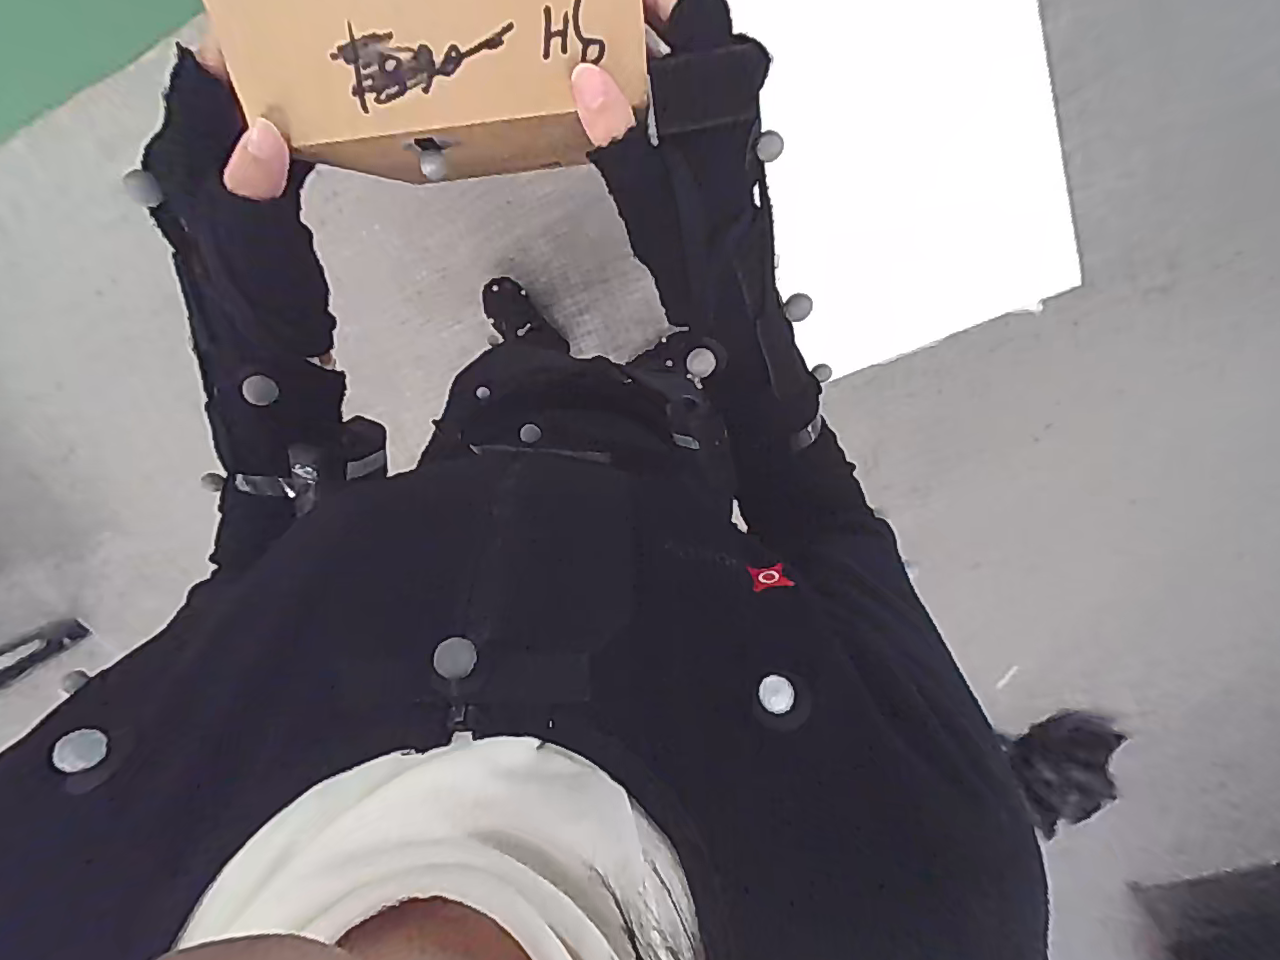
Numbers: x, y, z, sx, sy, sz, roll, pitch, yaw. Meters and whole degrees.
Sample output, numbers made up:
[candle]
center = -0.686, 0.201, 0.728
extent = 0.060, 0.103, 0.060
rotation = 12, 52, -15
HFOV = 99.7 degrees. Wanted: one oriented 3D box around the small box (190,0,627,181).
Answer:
[small box]
center = -0.097, -0.262, 0.264
extent = 0.168, 0.176, 0.179
rotation = -6, 114, 2
